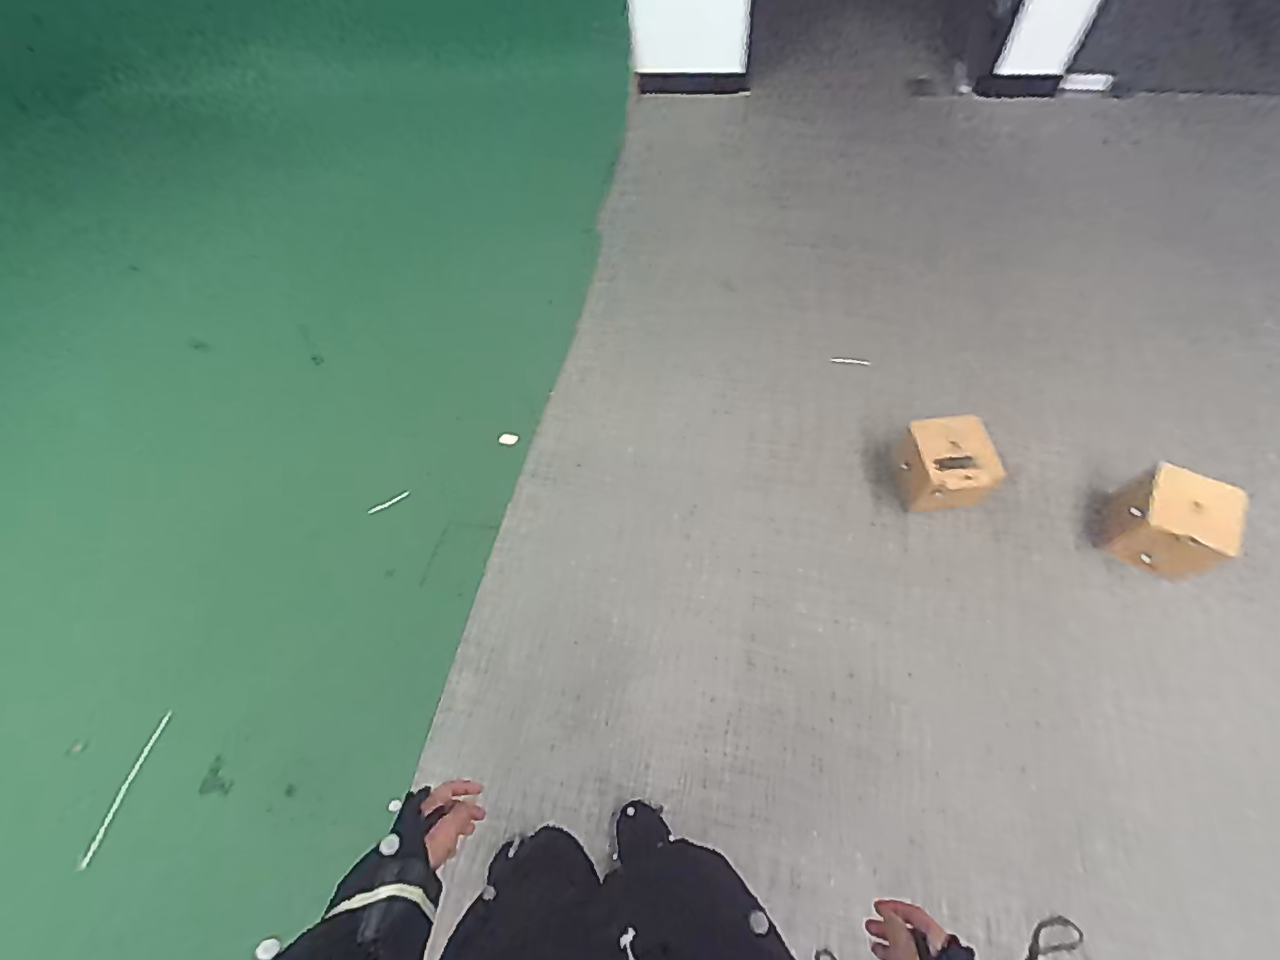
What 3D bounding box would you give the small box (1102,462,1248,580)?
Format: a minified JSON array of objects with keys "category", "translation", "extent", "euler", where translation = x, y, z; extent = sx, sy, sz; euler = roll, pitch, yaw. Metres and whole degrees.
[{"category":"small box","translation":[1.195,0.096,1.218],"extent":[0.168,0.176,0.179],"euler":[25,67,17]}]
